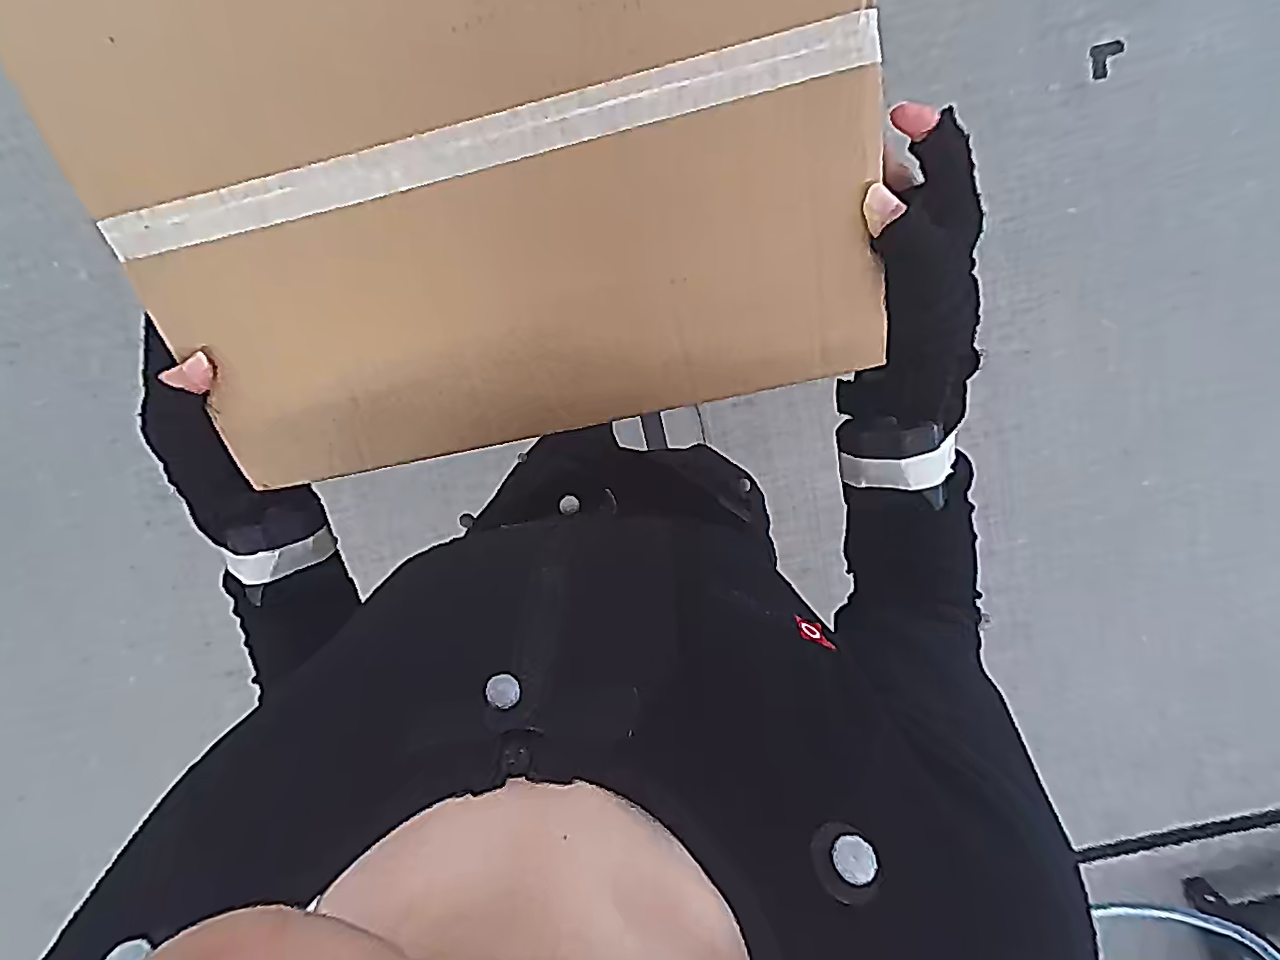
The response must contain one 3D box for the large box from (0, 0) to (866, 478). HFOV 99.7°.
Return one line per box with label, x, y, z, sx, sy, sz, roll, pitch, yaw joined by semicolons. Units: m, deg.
large box;-0.087;-0.238;0.417;0.408;0.320;0.320;-11;114;6
